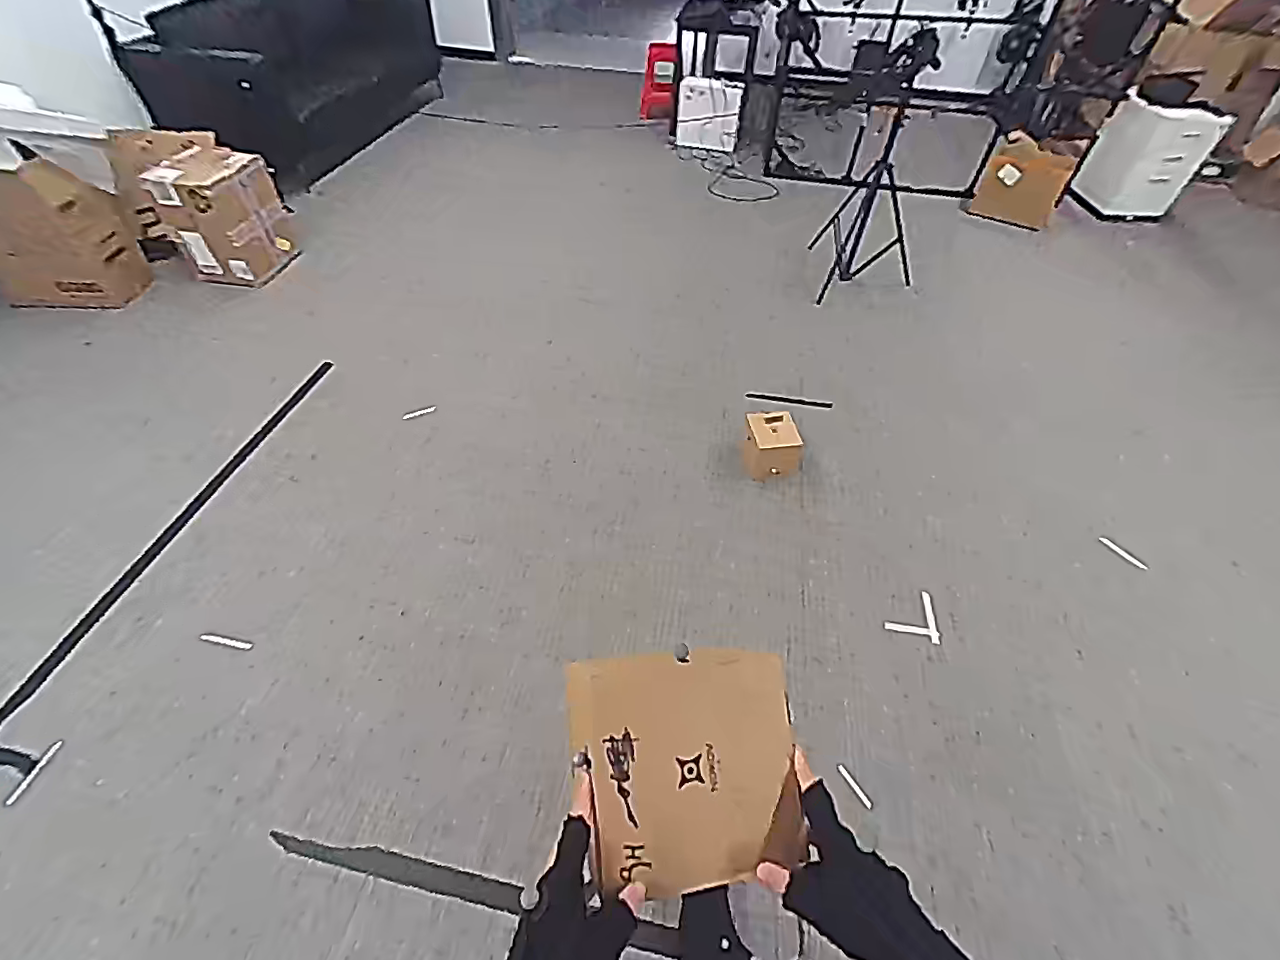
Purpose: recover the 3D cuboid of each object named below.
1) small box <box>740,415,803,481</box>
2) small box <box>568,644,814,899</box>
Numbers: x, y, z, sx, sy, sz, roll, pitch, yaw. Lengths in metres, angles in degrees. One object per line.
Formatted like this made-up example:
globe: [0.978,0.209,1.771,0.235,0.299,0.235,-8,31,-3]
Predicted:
small box: [0.479,-0.118,2.006,0.168,0.176,0.179,-6,50,-7]
small box: [0.033,0.249,0.512,0.179,0.176,0.168,-2,74,-15]
